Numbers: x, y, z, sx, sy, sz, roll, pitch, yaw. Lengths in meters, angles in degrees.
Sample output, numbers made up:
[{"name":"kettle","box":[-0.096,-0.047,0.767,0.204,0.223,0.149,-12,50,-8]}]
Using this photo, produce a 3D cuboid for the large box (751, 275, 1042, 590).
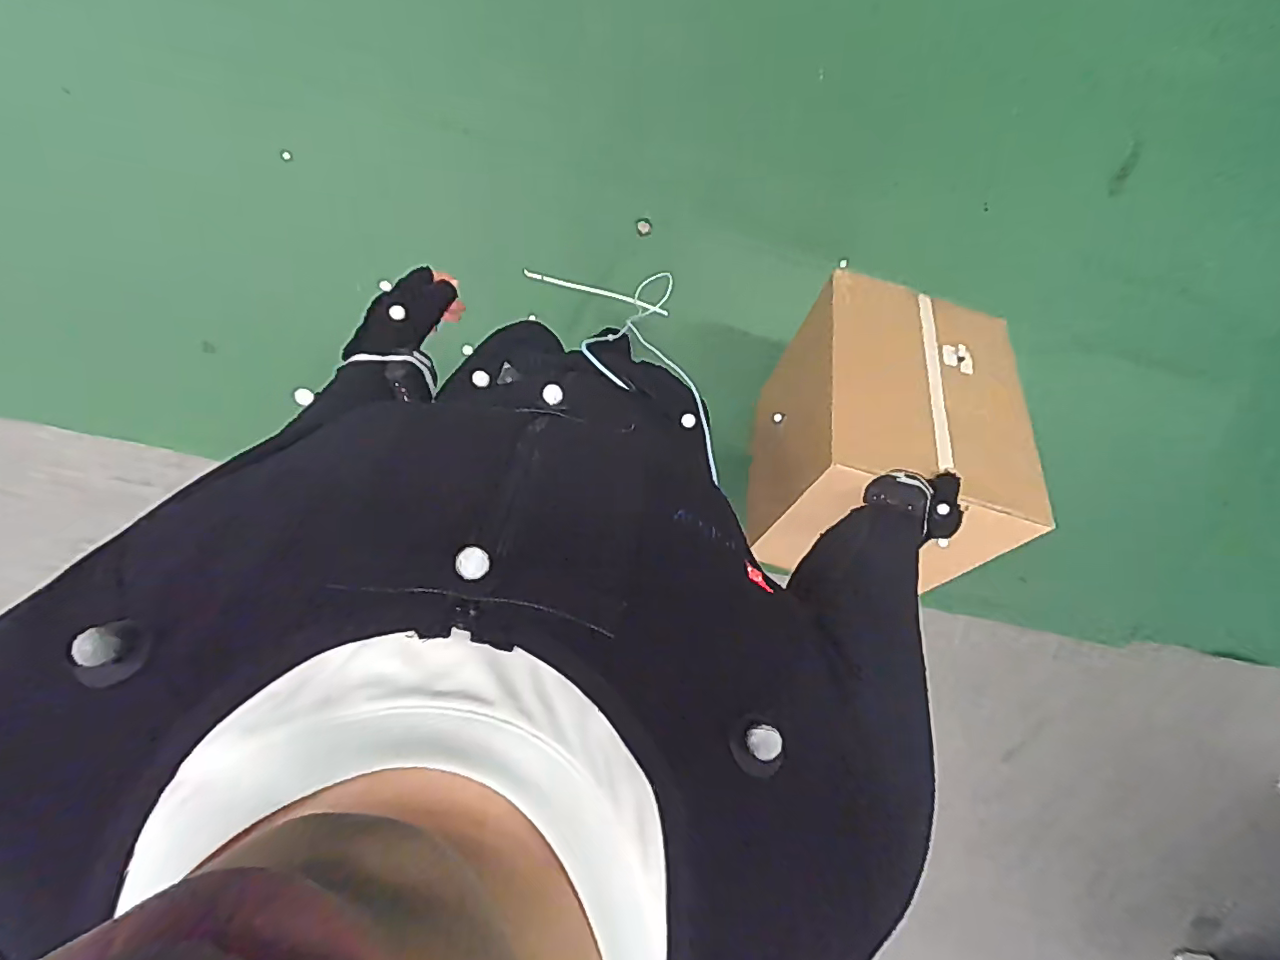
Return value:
[{"name":"large box","box":[0.402,-0.070,0.941,0.320,0.408,0.320,16,148,-4]}]
